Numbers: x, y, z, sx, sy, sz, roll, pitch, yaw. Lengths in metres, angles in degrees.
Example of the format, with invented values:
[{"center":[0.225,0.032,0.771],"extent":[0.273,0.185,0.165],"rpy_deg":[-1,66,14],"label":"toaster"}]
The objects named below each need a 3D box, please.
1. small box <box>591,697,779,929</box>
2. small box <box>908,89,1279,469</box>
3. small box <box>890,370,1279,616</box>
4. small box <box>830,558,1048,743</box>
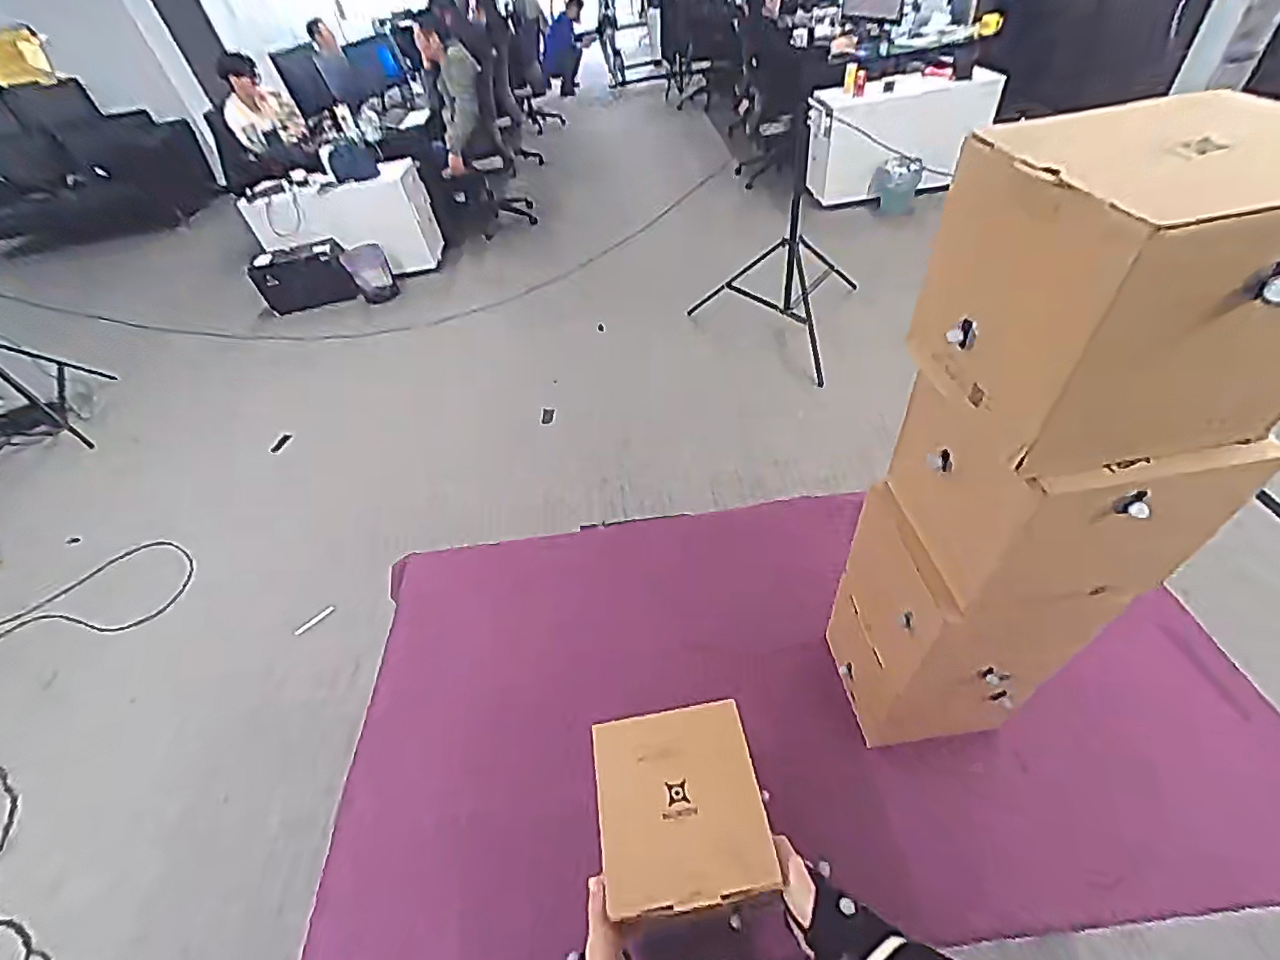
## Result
[{"center":[0.045,0.376,0.605],"extent":[0.168,0.176,0.179],"rpy_deg":[-10,44,-3],"label":"small box"},{"center":[0.313,-0.129,0.360],"extent":[0.179,0.176,0.168],"rpy_deg":[-10,46,1],"label":"small box"},{"center":[0.342,-0.009,0.468],"extent":[0.168,0.176,0.179],"rpy_deg":[-9,45,1],"label":"small box"},{"center":[0.364,0.220,0.702],"extent":[0.179,0.176,0.168],"rpy_deg":[-10,45,2],"label":"small box"}]
